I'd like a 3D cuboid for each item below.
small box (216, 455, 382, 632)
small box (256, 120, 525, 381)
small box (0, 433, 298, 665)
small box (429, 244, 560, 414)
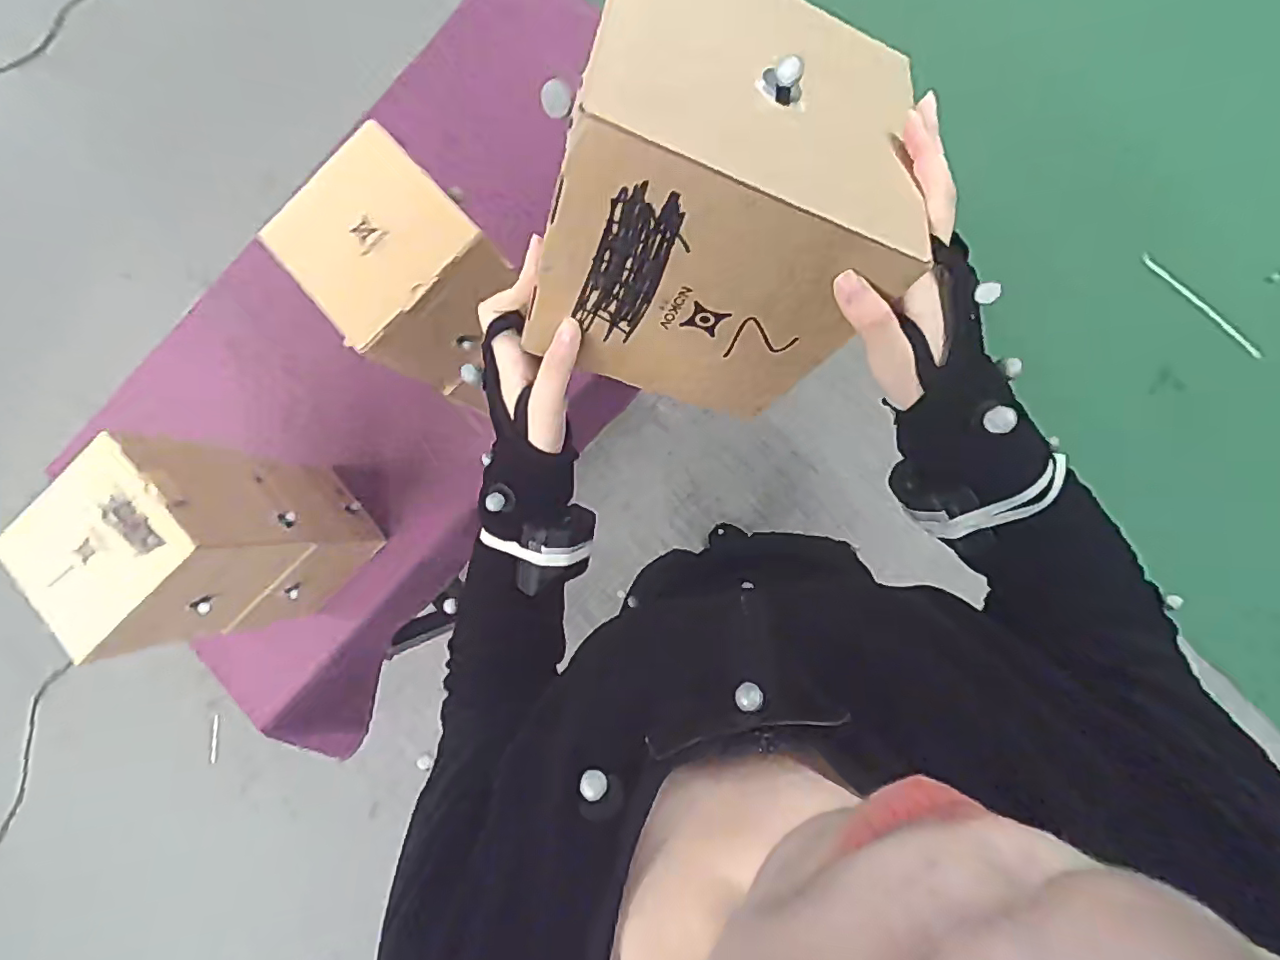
[{"bbox_3d":[-0.521,0.088,0.782,0.179,0.176,0.168,-43,83,2],"label":"small box"},{"bbox_3d":[-0.262,-0.238,0.608,0.168,0.176,0.179,-44,83,3],"label":"small box"},{"bbox_3d":[-0.538,0.071,0.619,0.179,0.176,0.168,-44,83,3],"label":"small box"},{"bbox_3d":[-0.233,-0.220,0.768,0.179,0.176,0.168,-45,82,2],"label":"small box"}]
